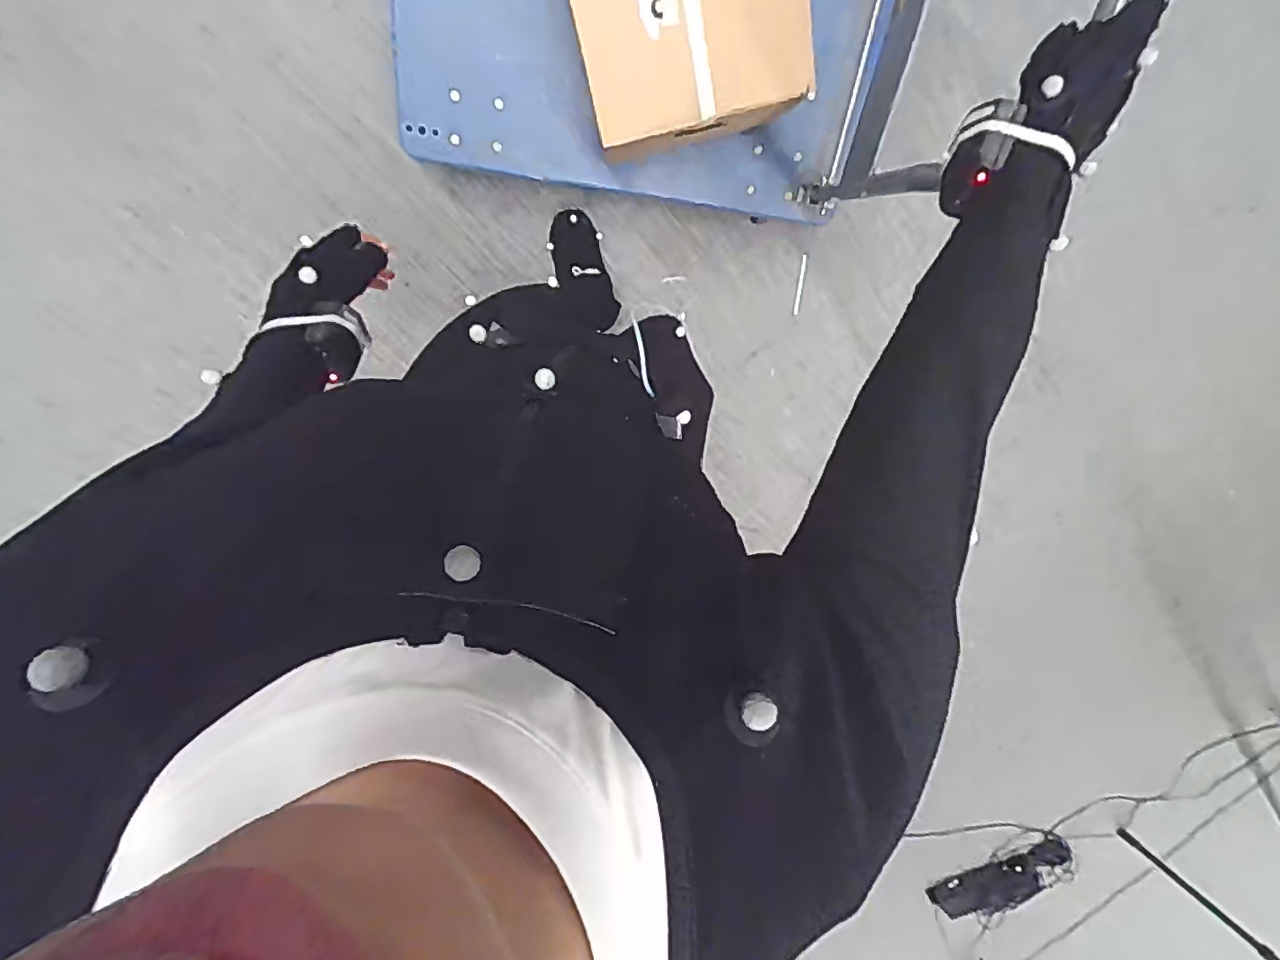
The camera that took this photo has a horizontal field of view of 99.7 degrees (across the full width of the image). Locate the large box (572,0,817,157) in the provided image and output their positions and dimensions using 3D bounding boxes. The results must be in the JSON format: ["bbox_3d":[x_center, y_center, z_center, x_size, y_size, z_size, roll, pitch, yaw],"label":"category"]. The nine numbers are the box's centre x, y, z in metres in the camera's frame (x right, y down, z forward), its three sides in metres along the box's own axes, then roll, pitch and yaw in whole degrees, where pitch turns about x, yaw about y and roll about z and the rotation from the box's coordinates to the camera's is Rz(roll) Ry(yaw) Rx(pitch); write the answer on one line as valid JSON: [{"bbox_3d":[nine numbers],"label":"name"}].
[{"bbox_3d":[0.050,-0.765,0.824,0.320,0.320,0.408,-13,117,5],"label":"large box"}]
